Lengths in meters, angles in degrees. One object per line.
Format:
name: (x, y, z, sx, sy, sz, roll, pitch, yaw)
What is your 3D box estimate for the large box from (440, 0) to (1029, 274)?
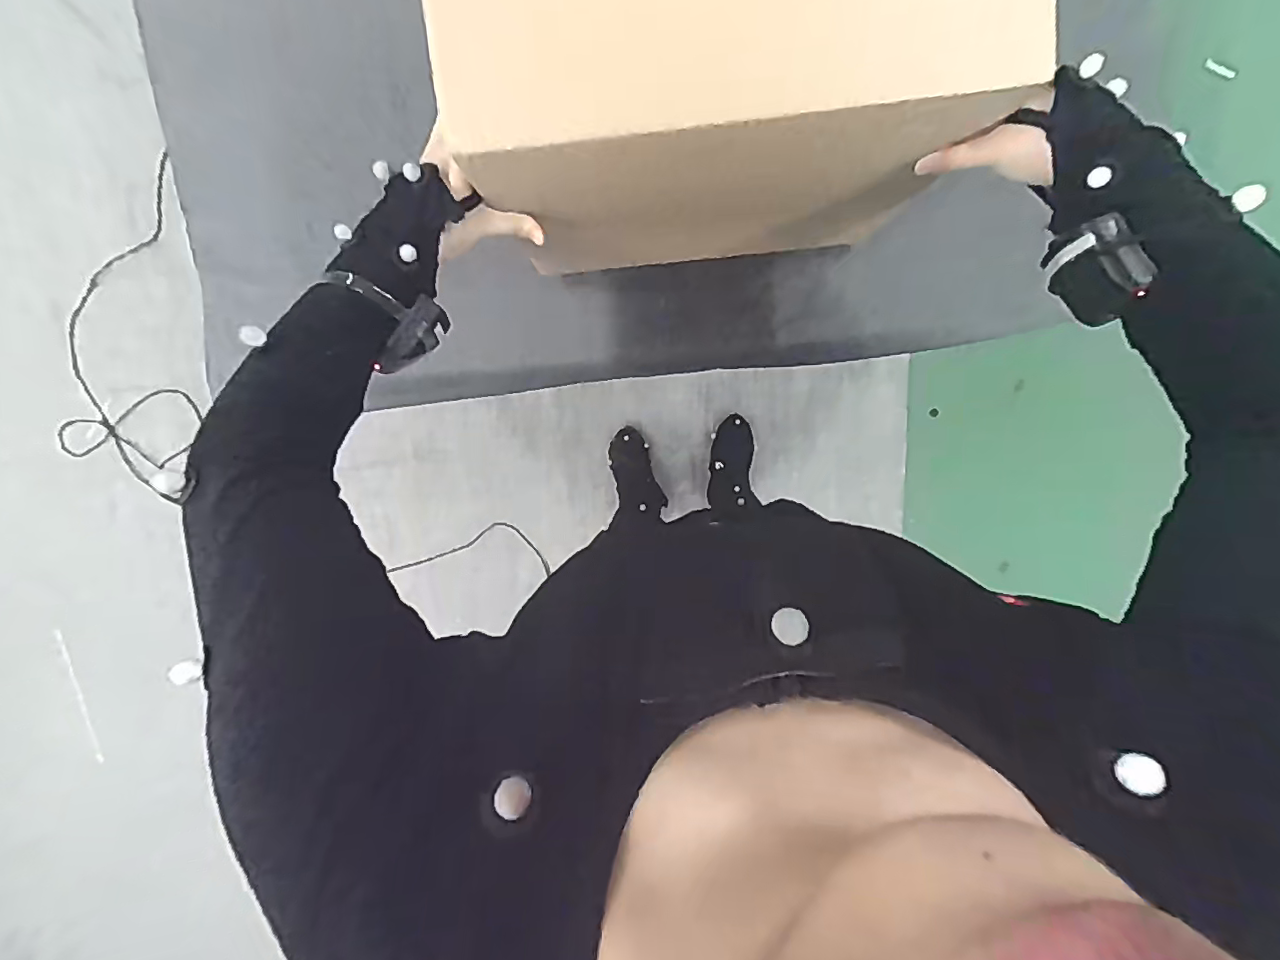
large box: (0.055, -0.414, 0.509, 0.408, 0.320, 0.320, -6, 97, 2)
